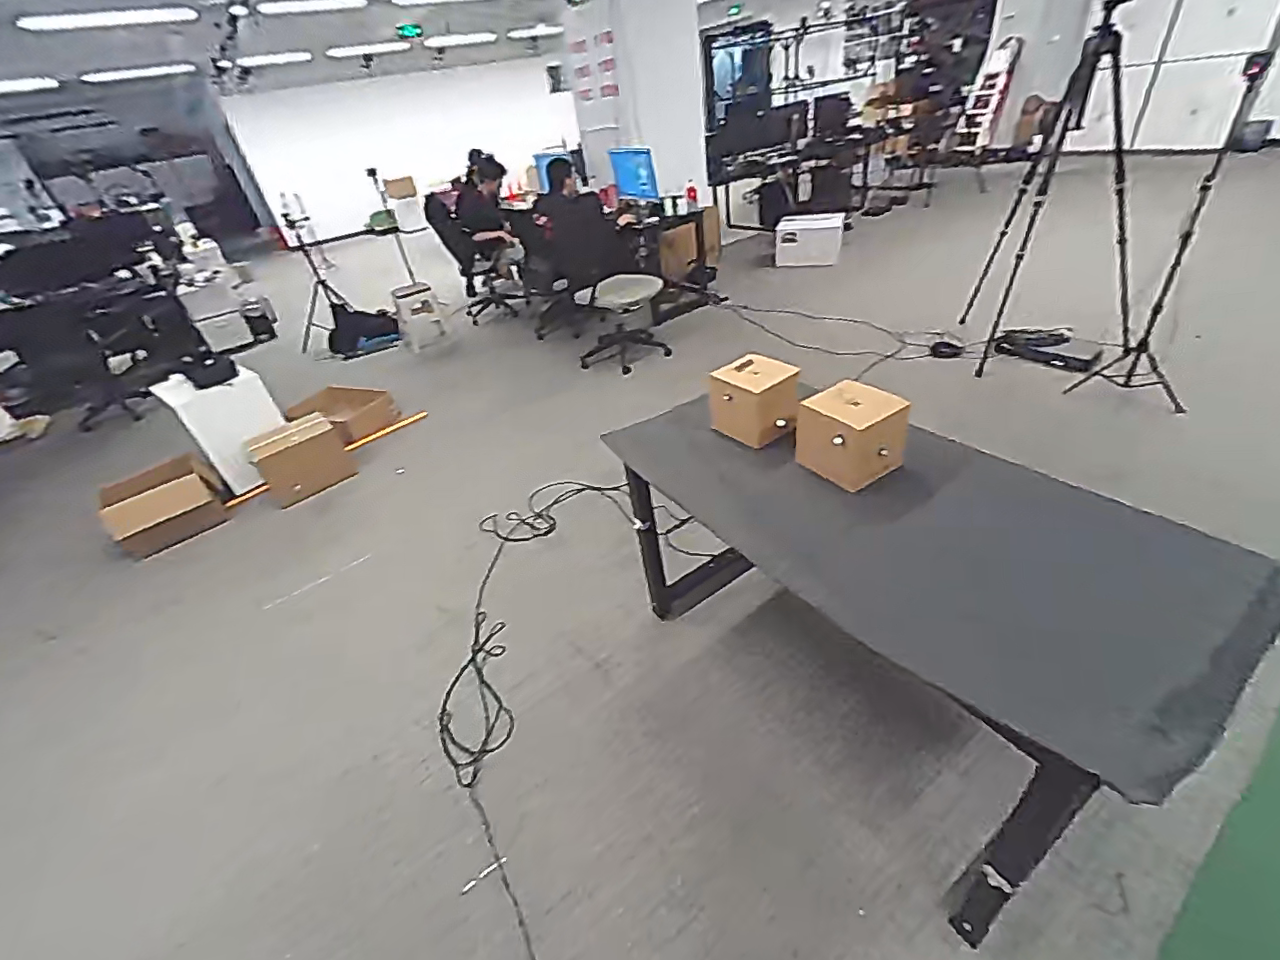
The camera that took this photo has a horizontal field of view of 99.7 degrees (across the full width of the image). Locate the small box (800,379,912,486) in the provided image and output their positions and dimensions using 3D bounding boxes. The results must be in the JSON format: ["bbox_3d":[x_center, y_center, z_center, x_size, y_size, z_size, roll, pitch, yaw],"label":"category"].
[{"bbox_3d":[0.490,-0.107,1.248,0.168,0.176,0.179,-25,38,-21],"label":"small box"}]

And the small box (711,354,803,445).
[{"bbox_3d":[0.311,-0.215,1.444,0.168,0.176,0.179,-30,41,-25],"label":"small box"}]
